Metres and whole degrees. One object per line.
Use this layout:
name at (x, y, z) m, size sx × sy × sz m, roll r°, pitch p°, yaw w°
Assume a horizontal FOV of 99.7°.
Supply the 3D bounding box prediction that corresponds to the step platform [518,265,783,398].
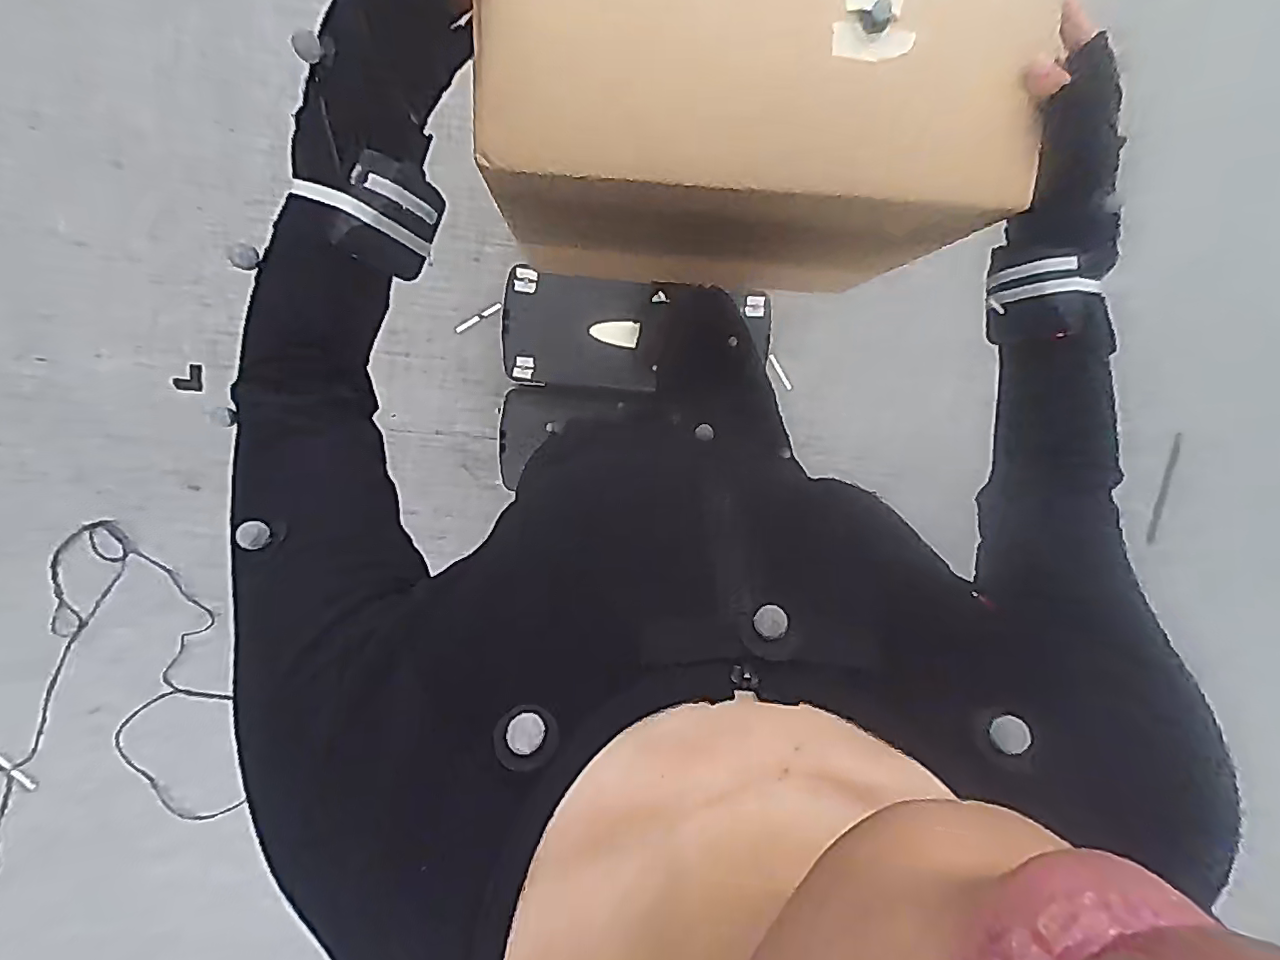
step platform at (0.026, -0.381, 1.427) m, size 0.684 × 0.204 × 0.286 m, roll 3°, pitch 101°, yaw -8°

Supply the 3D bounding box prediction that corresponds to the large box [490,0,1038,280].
large box at (0.081, -0.394, 0.526) m, size 0.408 × 0.320 × 0.320 m, roll 2°, pitch 98°, yaw -5°
